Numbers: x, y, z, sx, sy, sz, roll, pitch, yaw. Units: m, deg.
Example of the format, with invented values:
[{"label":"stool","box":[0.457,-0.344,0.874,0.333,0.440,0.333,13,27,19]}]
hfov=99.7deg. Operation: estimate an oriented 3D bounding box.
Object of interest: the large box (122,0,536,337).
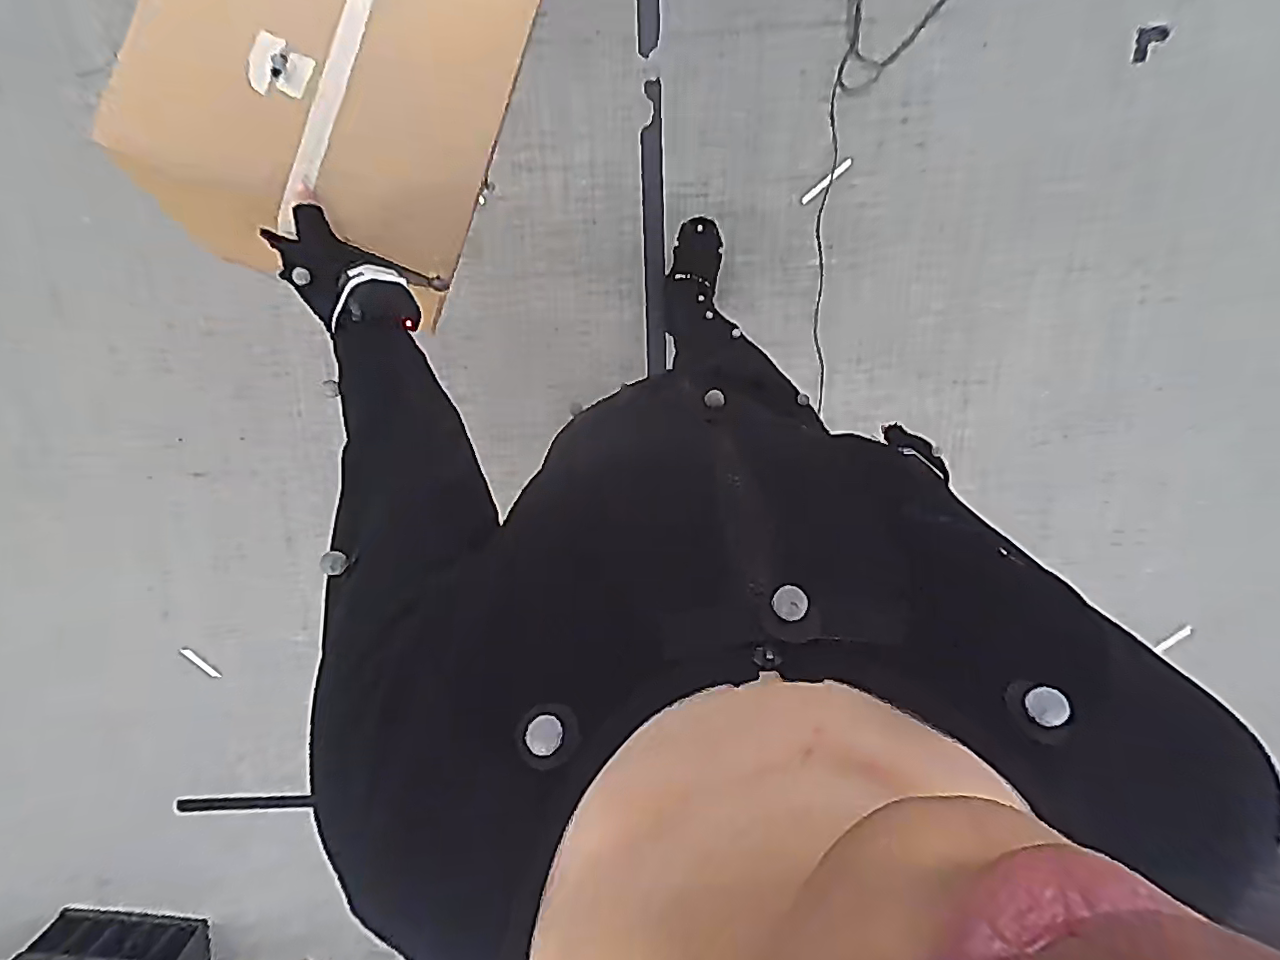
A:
[{"label":"large box","box":[-0.365,-0.455,0.712,0.320,0.320,0.408,17,87,-23]}]
